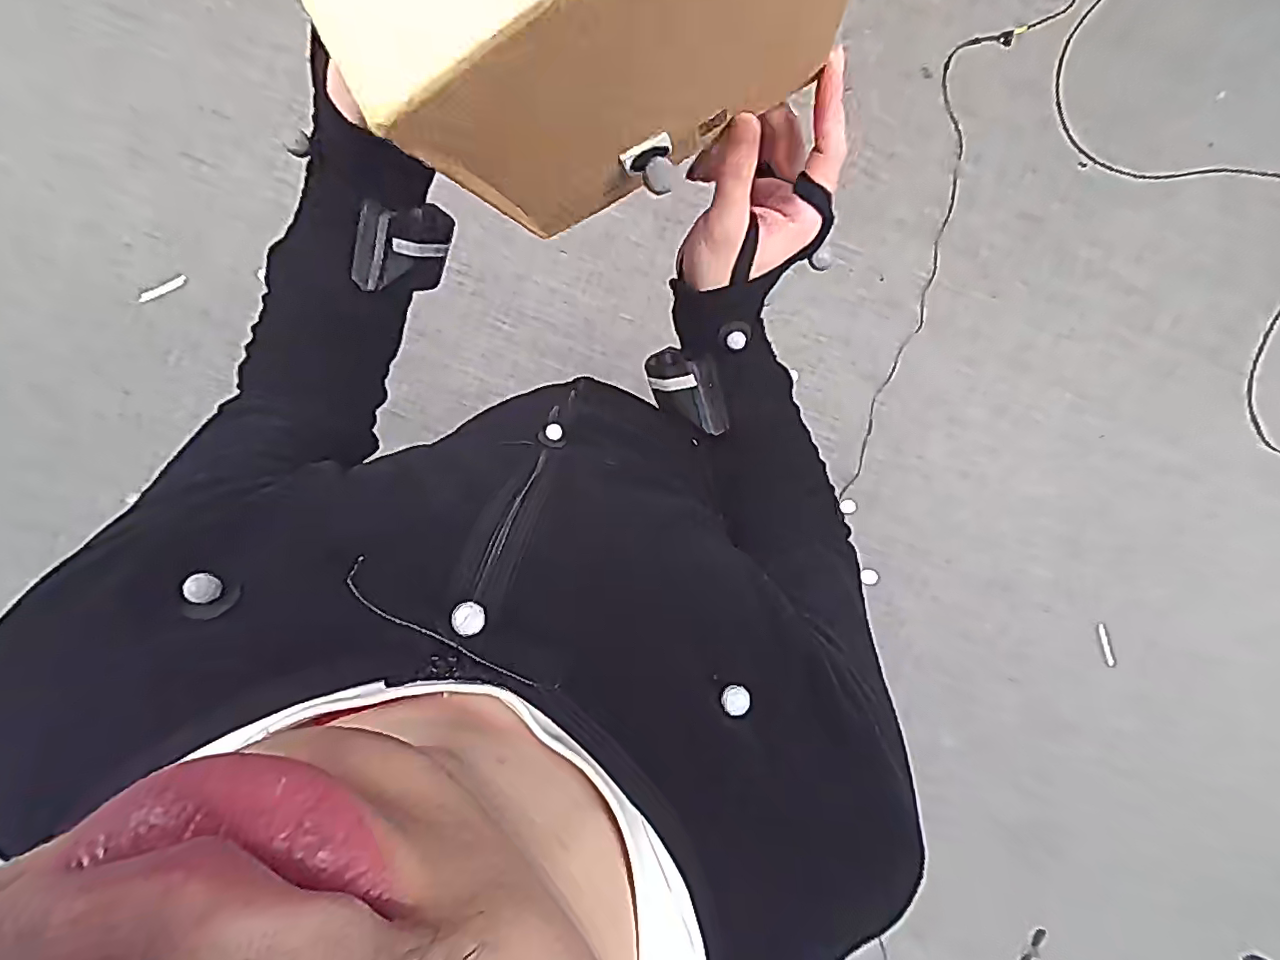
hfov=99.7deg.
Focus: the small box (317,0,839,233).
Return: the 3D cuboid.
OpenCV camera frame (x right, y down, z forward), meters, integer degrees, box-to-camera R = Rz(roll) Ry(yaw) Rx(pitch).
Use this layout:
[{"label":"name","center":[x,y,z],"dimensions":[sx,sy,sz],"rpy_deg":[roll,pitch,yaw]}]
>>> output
[{"label":"small box","center":[-0.030,-0.230,0.211],"dimensions":[0.168,0.176,0.179],"rpy_deg":[-26,99,14]}]
